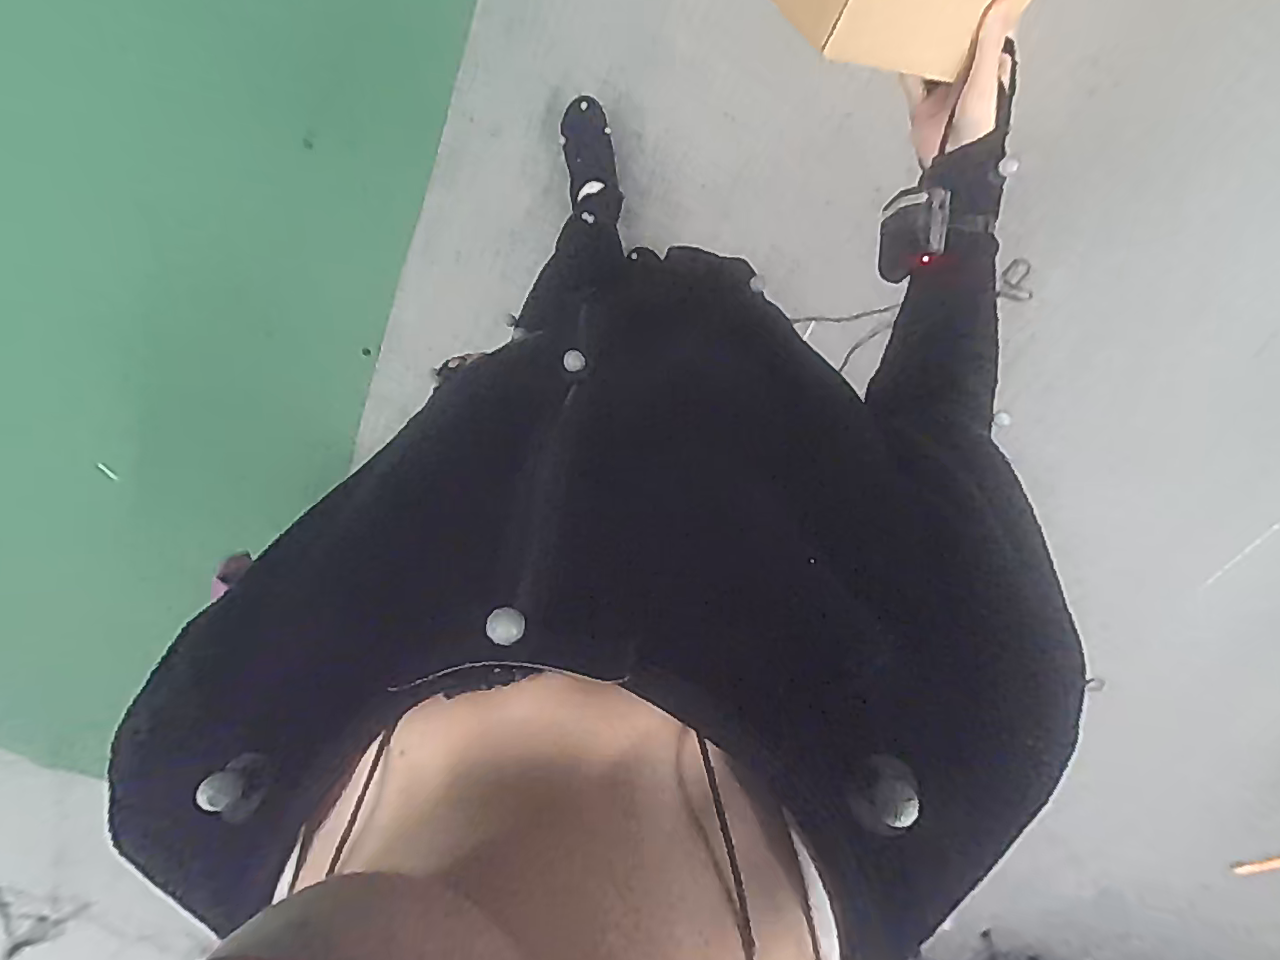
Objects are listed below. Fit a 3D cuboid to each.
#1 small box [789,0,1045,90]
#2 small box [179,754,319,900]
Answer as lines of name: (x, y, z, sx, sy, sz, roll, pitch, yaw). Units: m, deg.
small box: (0.194, -0.409, 0.358, 0.168, 0.176, 0.179, -12, 155, -27)
small box: (-0.786, 0.701, 1.099, 0.168, 0.176, 0.179, 21, 115, -9)
